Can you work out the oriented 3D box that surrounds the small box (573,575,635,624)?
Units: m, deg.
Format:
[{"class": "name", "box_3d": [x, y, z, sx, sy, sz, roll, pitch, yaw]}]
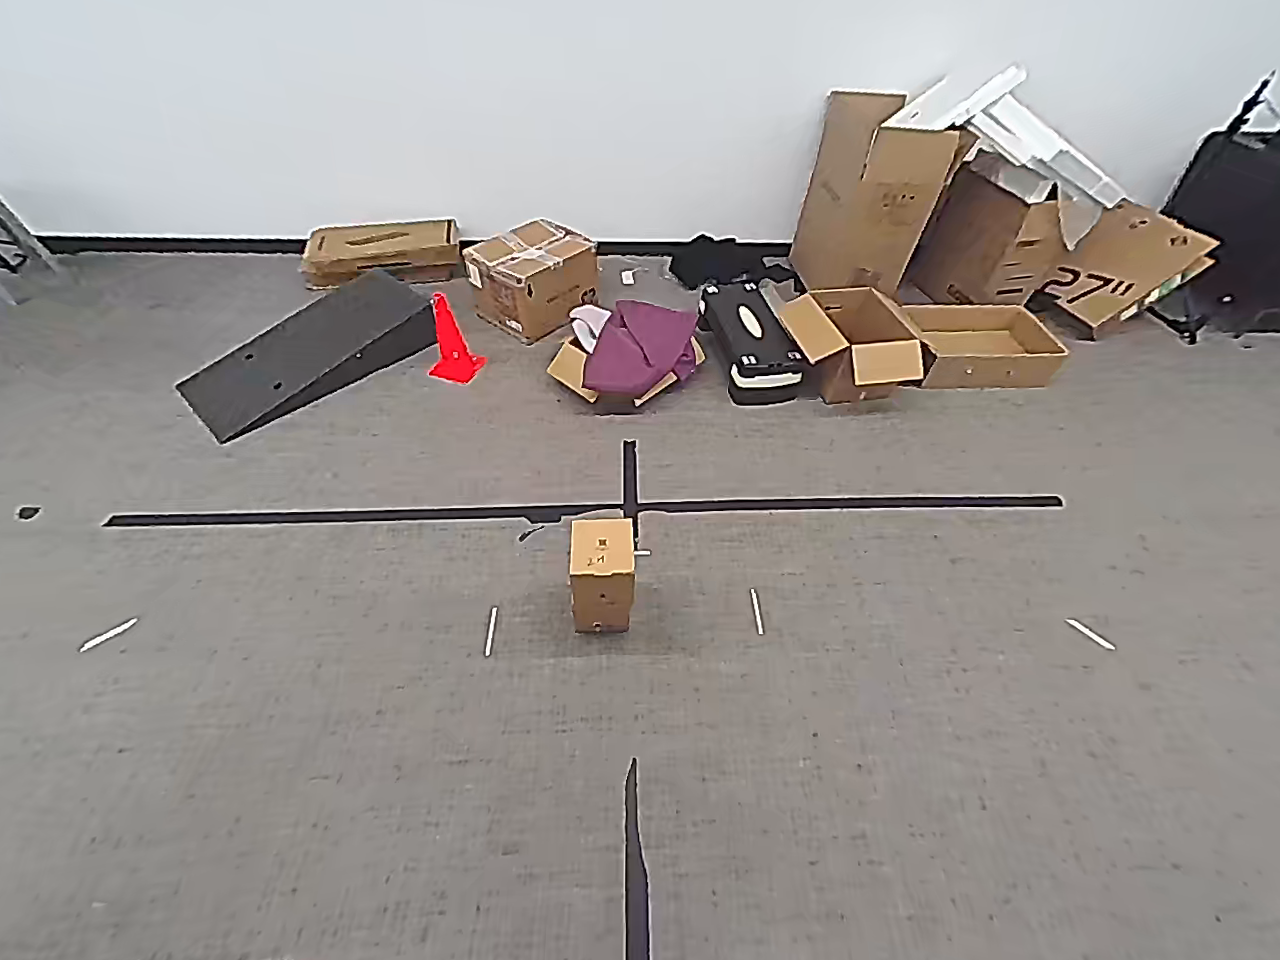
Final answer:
[{"class": "small box", "box_3d": [-0.101, 0.286, 1.519, 0.168, 0.176, 0.179, -2, 50, -3]}]

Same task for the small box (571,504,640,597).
[{"class": "small box", "box_3d": [-0.088, 0.182, 1.391, 0.168, 0.176, 0.179, -2, 49, -3]}]
